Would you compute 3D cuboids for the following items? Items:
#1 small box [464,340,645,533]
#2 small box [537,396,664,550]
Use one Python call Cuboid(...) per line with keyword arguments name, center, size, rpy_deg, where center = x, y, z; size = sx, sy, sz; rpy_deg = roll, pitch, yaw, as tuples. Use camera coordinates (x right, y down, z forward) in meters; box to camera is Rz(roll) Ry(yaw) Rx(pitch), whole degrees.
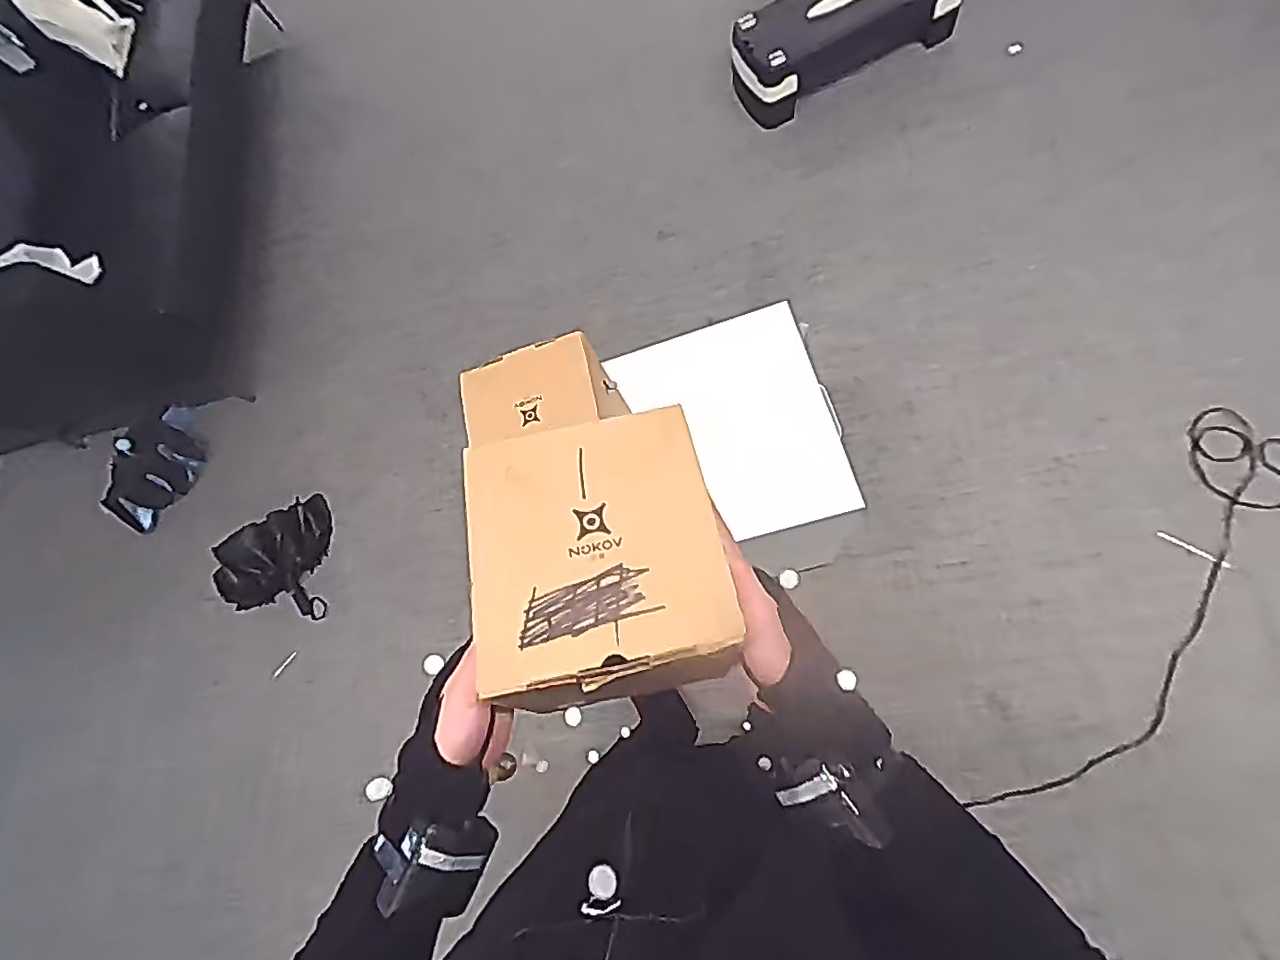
Cuboid(name="small box", center=(-0.106, -0.047, 0.712), size=(0.168, 0.176, 0.179), rpy_deg=(-19, 70, 10))
Cuboid(name="small box", center=(-0.071, -0.003, 0.864), size=(0.168, 0.176, 0.179), rpy_deg=(-16, 68, 9))
